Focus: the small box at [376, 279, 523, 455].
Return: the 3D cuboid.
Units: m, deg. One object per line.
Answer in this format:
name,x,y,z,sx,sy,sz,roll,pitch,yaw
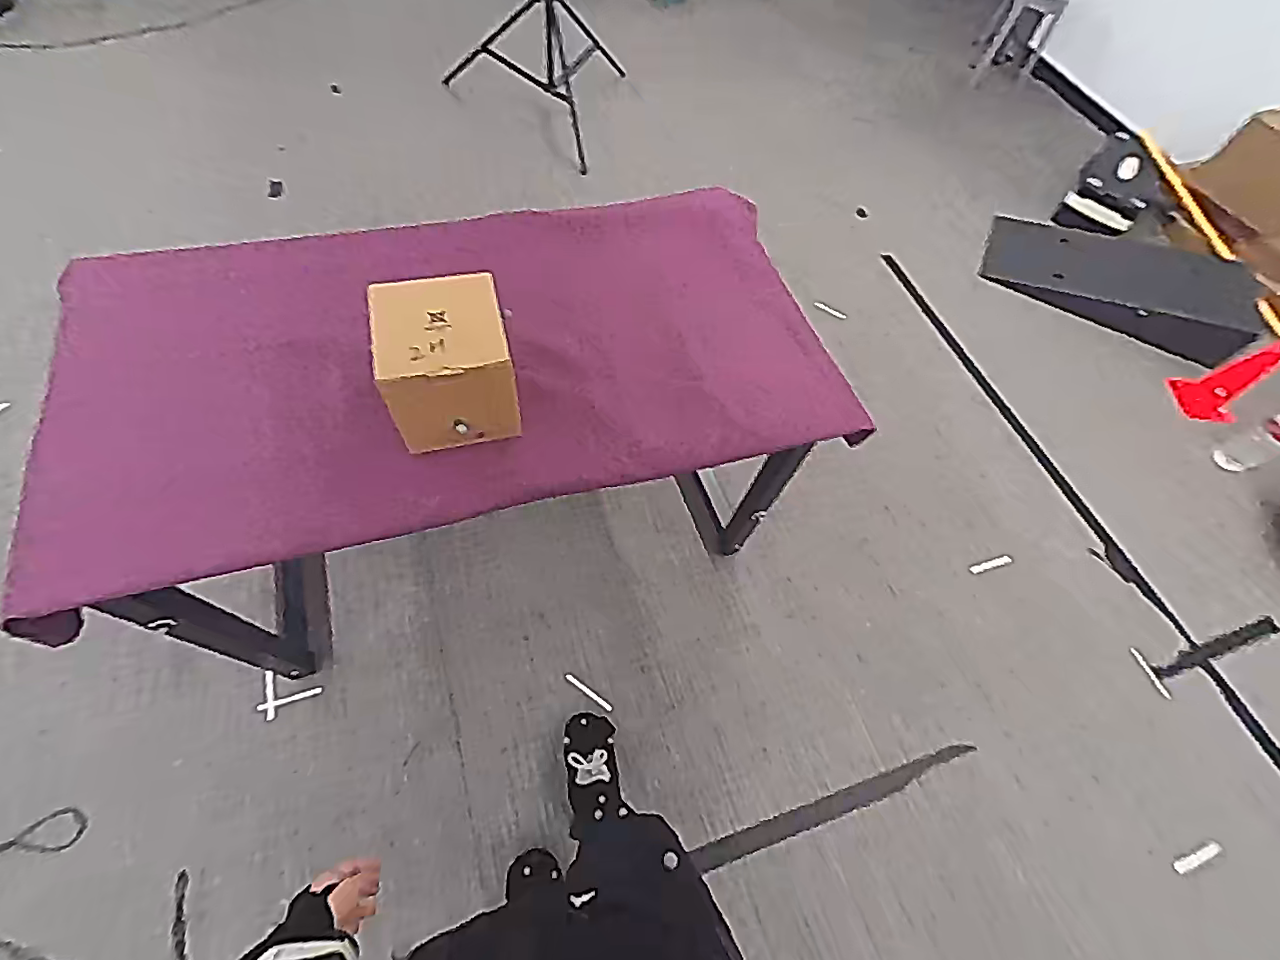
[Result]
small box,-0.271,-0.162,0.789,0.168,0.176,0.179,-12,62,-12
